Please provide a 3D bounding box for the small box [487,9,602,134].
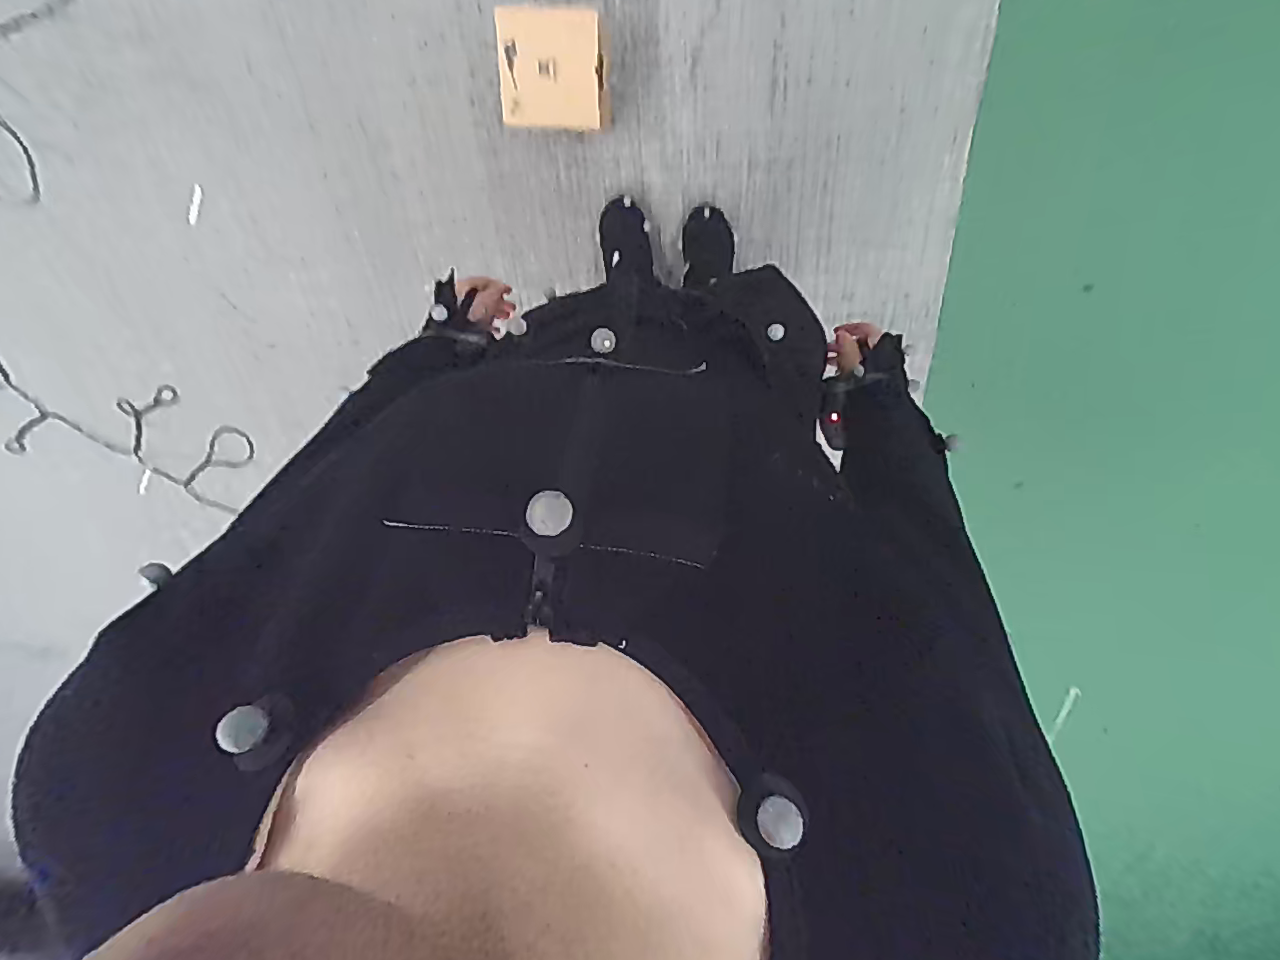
[{"bbox_3d":[-0.162,-0.733,0.984,0.179,0.176,0.168,3,122,2],"label":"small box"}]
